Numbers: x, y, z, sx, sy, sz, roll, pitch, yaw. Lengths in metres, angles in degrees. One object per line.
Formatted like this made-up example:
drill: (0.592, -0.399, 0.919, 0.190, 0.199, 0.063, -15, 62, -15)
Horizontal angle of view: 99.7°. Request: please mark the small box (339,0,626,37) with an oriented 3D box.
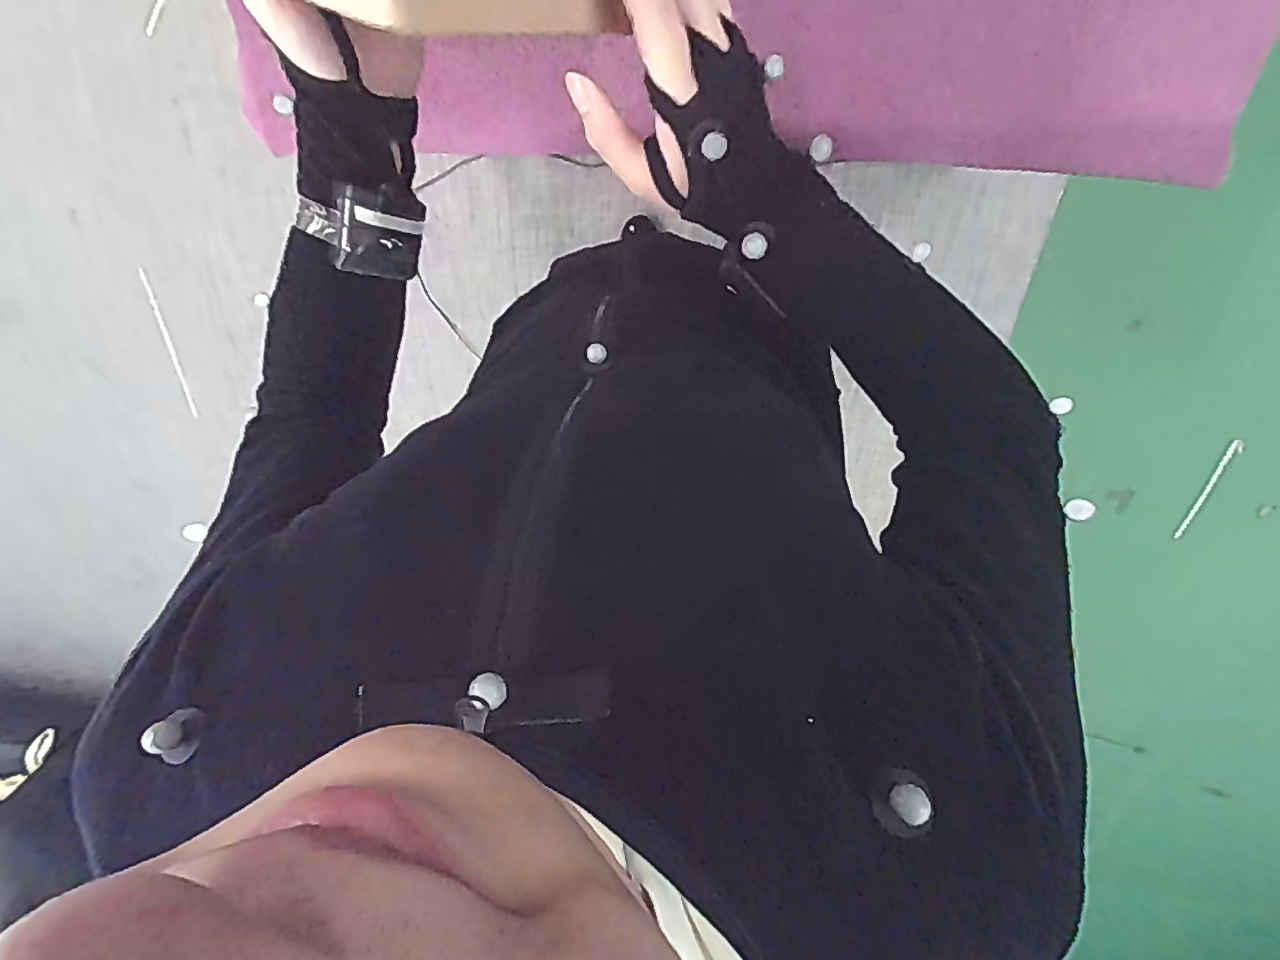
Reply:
small box: (-0.092, -0.305, 0.216, 0.179, 0.176, 0.168, 30, 137, 15)
